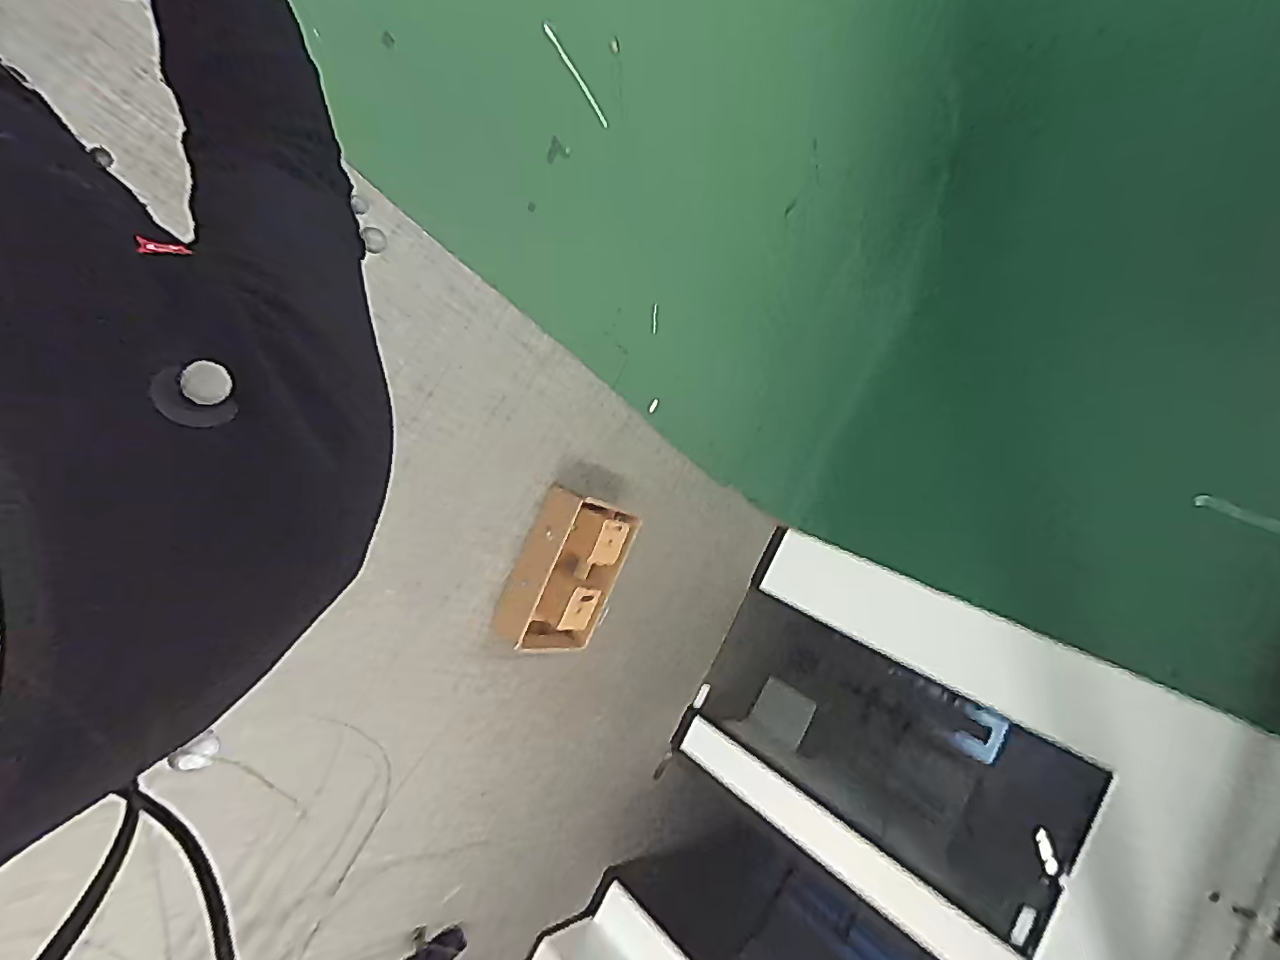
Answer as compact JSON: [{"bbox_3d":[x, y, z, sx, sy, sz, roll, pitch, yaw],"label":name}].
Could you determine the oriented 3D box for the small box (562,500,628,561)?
[{"bbox_3d":[-0.184,0.201,2.148,0.168,0.176,0.179,18,97,-54],"label":"small box"}]

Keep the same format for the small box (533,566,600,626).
[{"bbox_3d":[-0.297,0.460,2.153,0.168,0.176,0.179,25,90,-54],"label":"small box"}]
